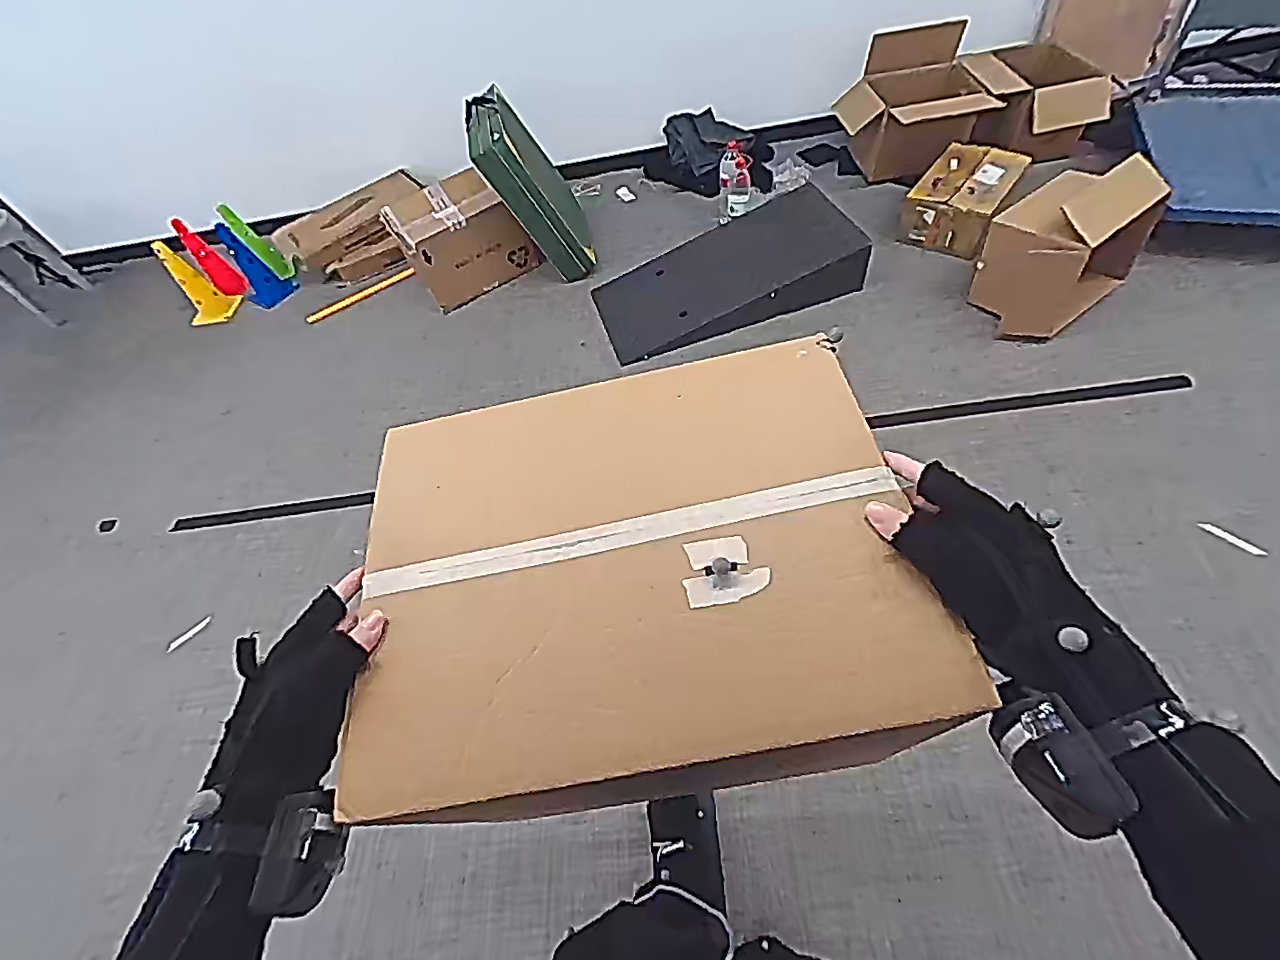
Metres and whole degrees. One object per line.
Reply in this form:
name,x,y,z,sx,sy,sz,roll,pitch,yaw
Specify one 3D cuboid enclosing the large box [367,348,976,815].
large box,0.015,0.123,0.545,0.408,0.320,0.320,-12,57,3
